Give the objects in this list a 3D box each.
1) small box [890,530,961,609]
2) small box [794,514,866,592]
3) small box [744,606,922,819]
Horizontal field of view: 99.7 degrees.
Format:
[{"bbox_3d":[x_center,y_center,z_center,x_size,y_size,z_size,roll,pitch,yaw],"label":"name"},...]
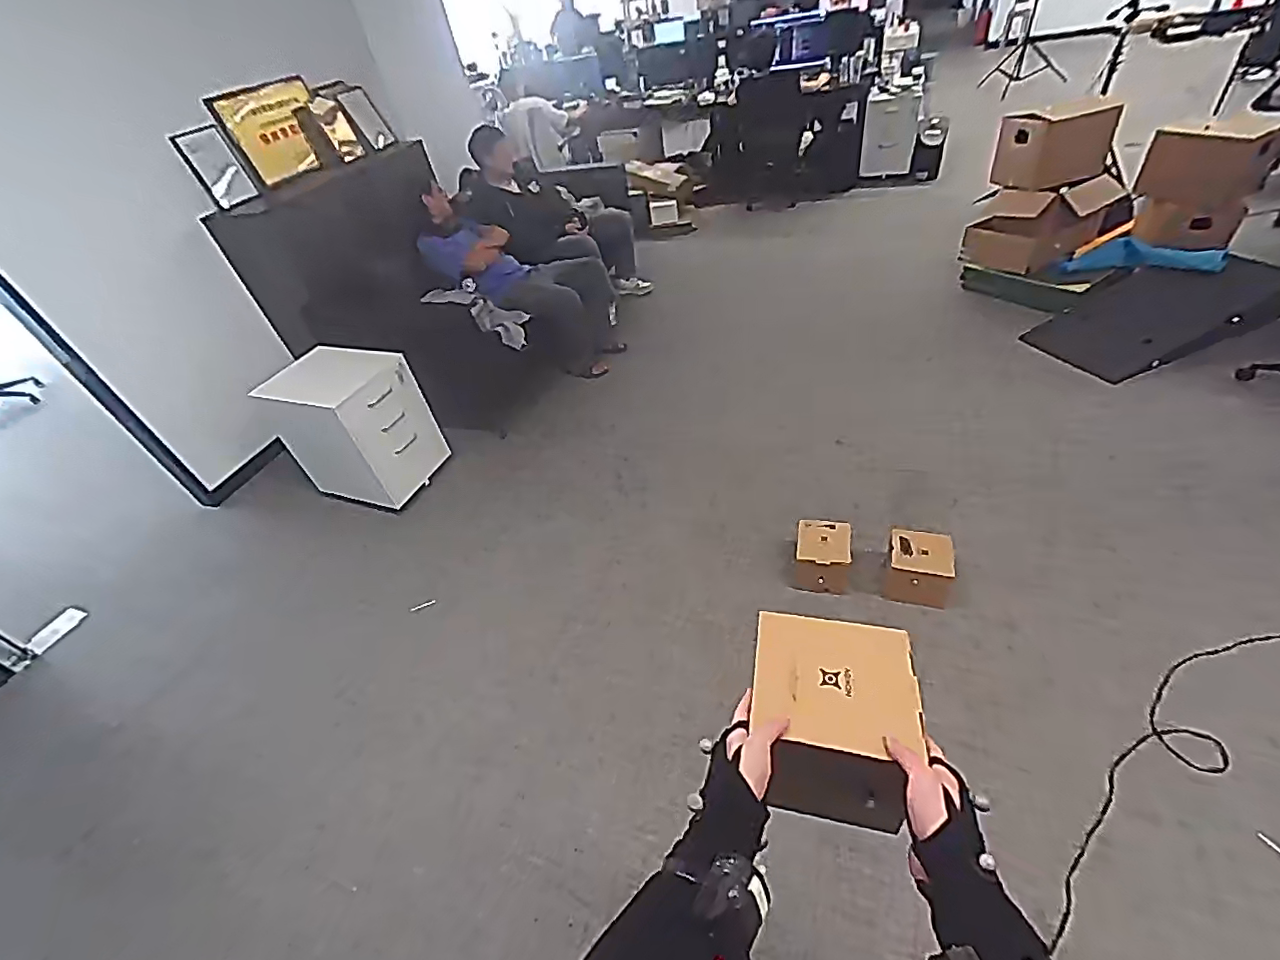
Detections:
[{"bbox_3d":[0.903,0.285,1.715,0.179,0.176,0.168,9,48,24],"label":"small box"},{"bbox_3d":[0.637,0.249,1.818,0.179,0.176,0.168,-17,39,-3],"label":"small box"},{"bbox_3d":[0.225,0.283,0.661,0.179,0.176,0.168,4,37,16],"label":"small box"}]
